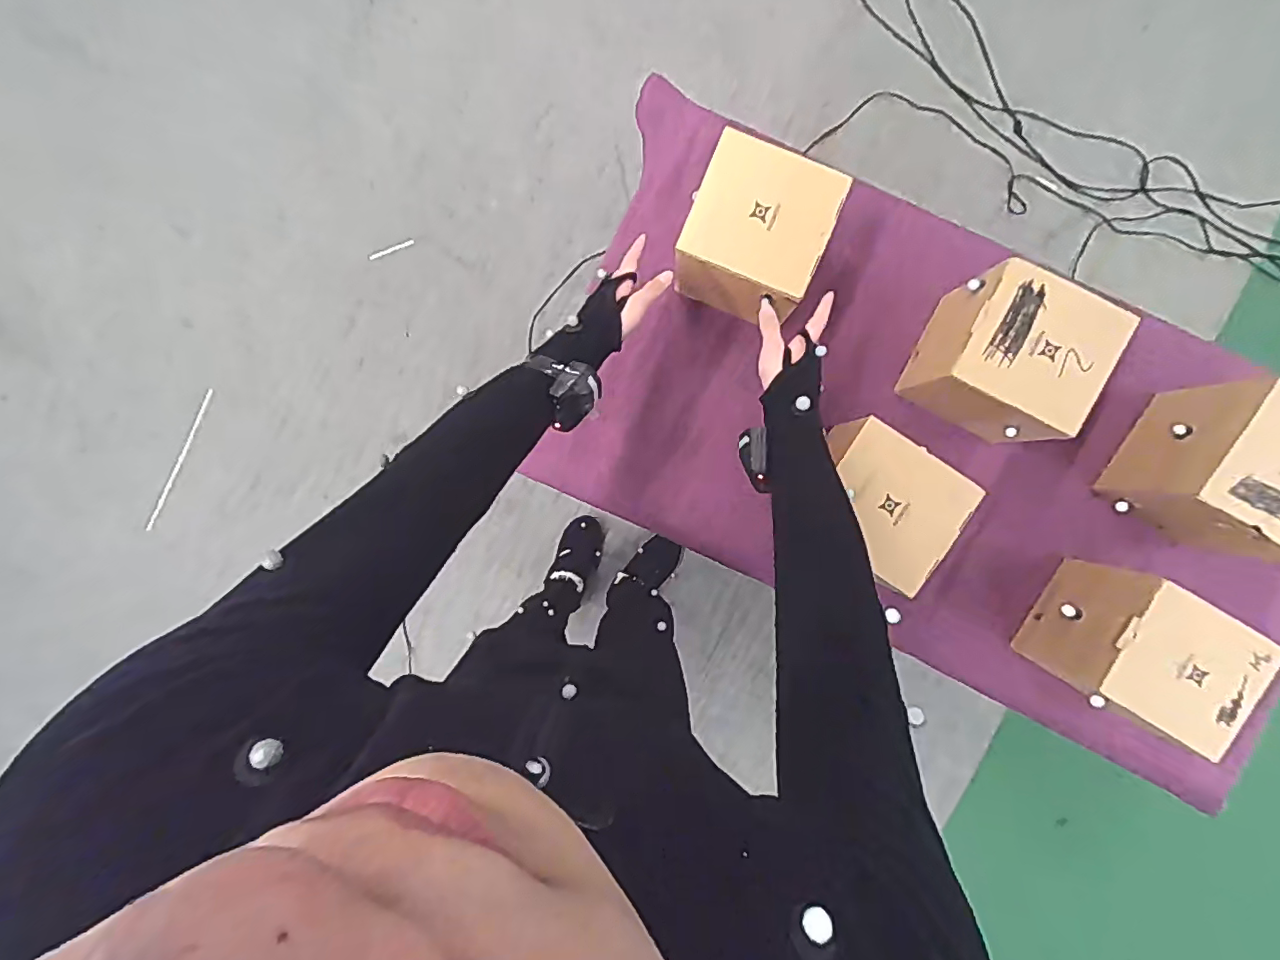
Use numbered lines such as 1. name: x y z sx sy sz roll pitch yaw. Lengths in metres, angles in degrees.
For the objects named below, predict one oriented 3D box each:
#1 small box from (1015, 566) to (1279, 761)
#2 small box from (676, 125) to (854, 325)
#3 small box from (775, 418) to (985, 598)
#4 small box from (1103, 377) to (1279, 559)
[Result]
1. small box: 0.674 0.233 0.743 0.179 0.176 0.168 32 92 2
2. small box: 0.157 -0.335 0.750 0.179 0.176 0.168 23 93 1
3. small box: 0.317 0.033 0.753 0.179 0.176 0.168 35 91 2
4. small box: 0.792 -0.011 0.732 0.168 0.176 0.179 33 92 1
